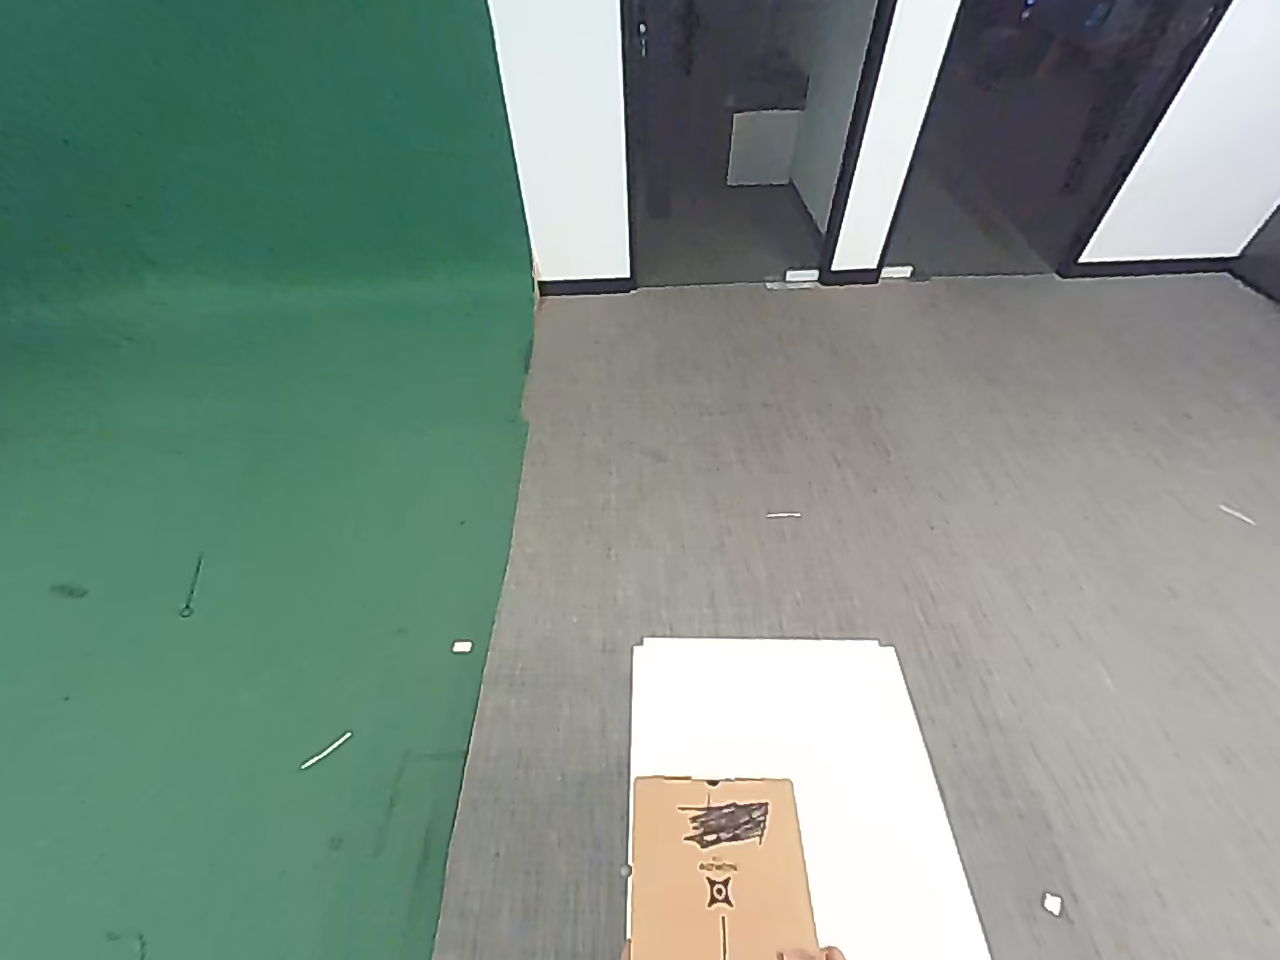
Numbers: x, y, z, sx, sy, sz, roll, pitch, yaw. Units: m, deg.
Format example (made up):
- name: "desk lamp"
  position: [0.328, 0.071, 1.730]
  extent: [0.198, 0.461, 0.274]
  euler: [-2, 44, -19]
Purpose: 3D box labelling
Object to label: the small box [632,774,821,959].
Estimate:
- name: "small box"
  position: [0.076, 0.426, 0.561]
  extent: [0.168, 0.176, 0.179]
  euler: [0, 47, 2]
